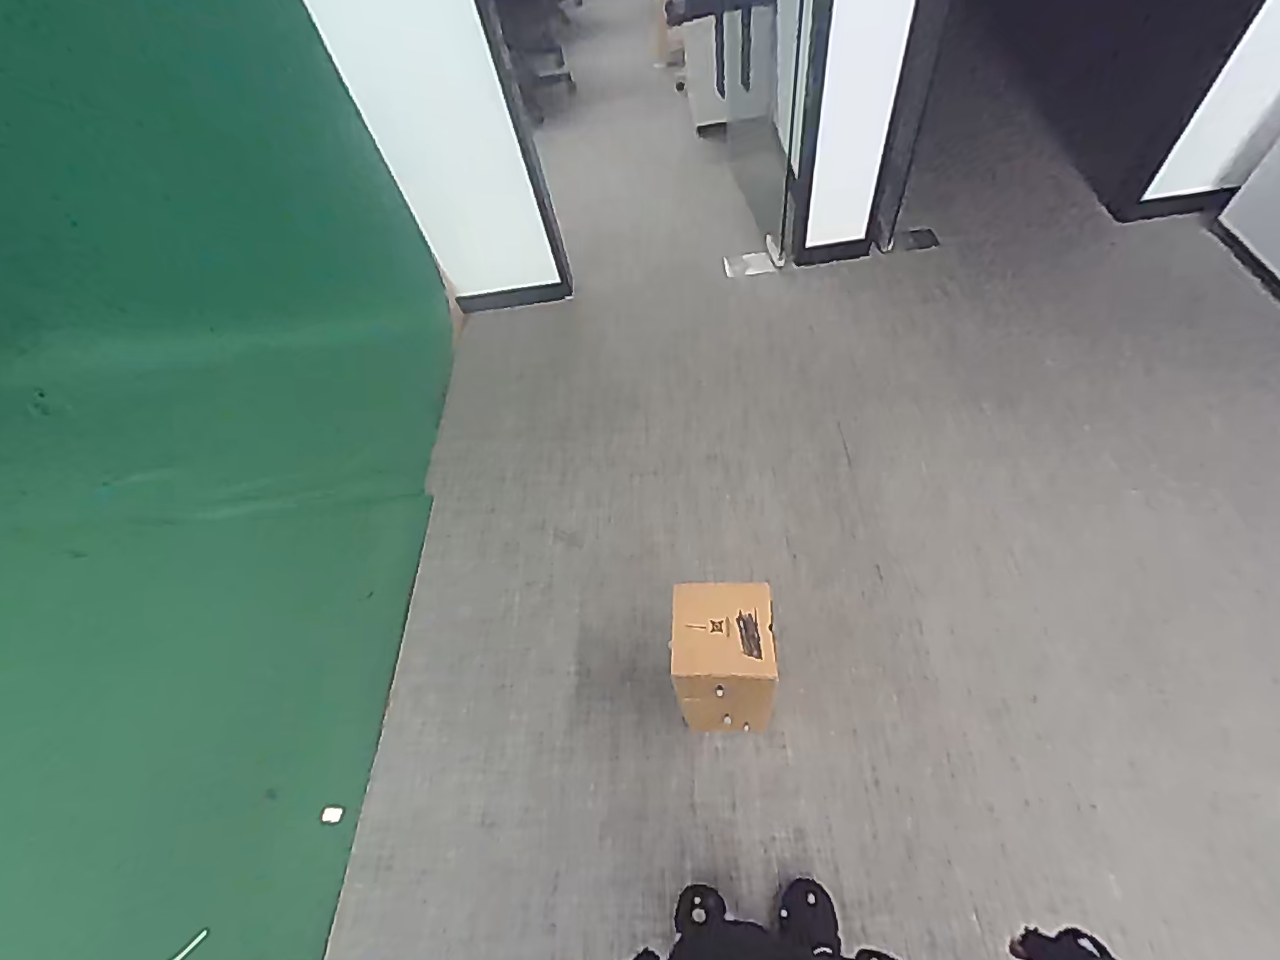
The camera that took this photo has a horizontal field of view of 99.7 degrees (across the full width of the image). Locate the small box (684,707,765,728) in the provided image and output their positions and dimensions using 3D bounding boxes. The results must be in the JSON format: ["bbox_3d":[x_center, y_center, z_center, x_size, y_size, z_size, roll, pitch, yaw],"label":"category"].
[{"bbox_3d":[0.194,0.479,1.271,0.179,0.176,0.168,-5,55,8],"label":"small box"}]

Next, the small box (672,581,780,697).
[{"bbox_3d":[0.153,0.298,1.001,0.179,0.176,0.168,-4,56,6],"label":"small box"}]

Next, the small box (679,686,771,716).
[{"bbox_3d":[0.174,0.390,1.135,0.179,0.176,0.168,-3,56,8],"label":"small box"}]
